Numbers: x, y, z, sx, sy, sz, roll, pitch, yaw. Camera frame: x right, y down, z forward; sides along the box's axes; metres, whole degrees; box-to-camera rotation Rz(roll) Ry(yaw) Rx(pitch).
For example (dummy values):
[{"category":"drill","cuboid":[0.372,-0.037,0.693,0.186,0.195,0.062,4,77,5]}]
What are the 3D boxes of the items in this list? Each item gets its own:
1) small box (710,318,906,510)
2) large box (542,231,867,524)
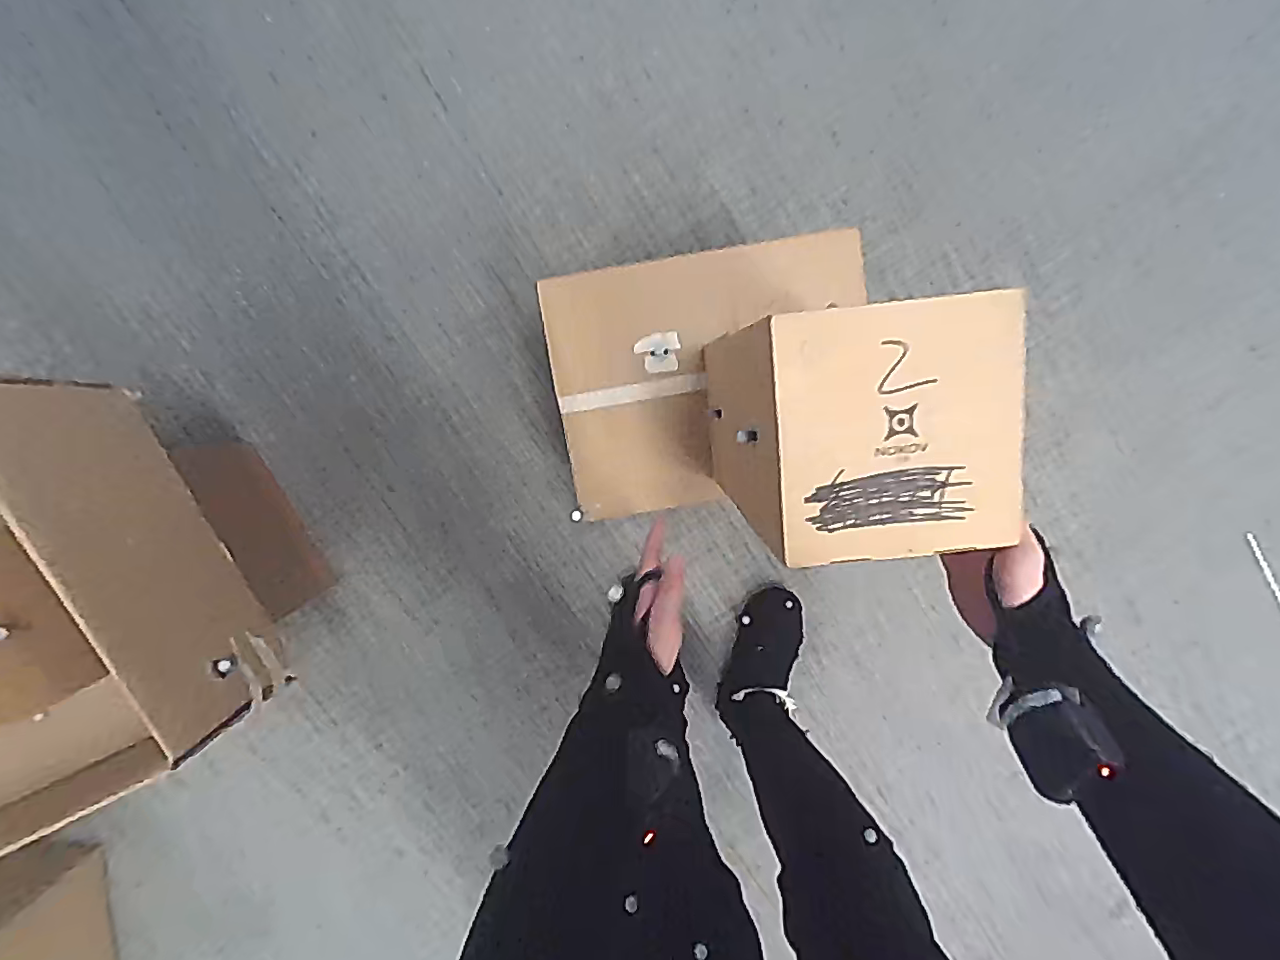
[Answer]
[{"category":"small box","cuboid":[0.174,-0.075,0.600,0.168,0.176,0.179,-6,100,0]},{"category":"large box","cuboid":[0.099,-0.148,0.837,0.408,0.320,0.320,-9,98,2]}]
